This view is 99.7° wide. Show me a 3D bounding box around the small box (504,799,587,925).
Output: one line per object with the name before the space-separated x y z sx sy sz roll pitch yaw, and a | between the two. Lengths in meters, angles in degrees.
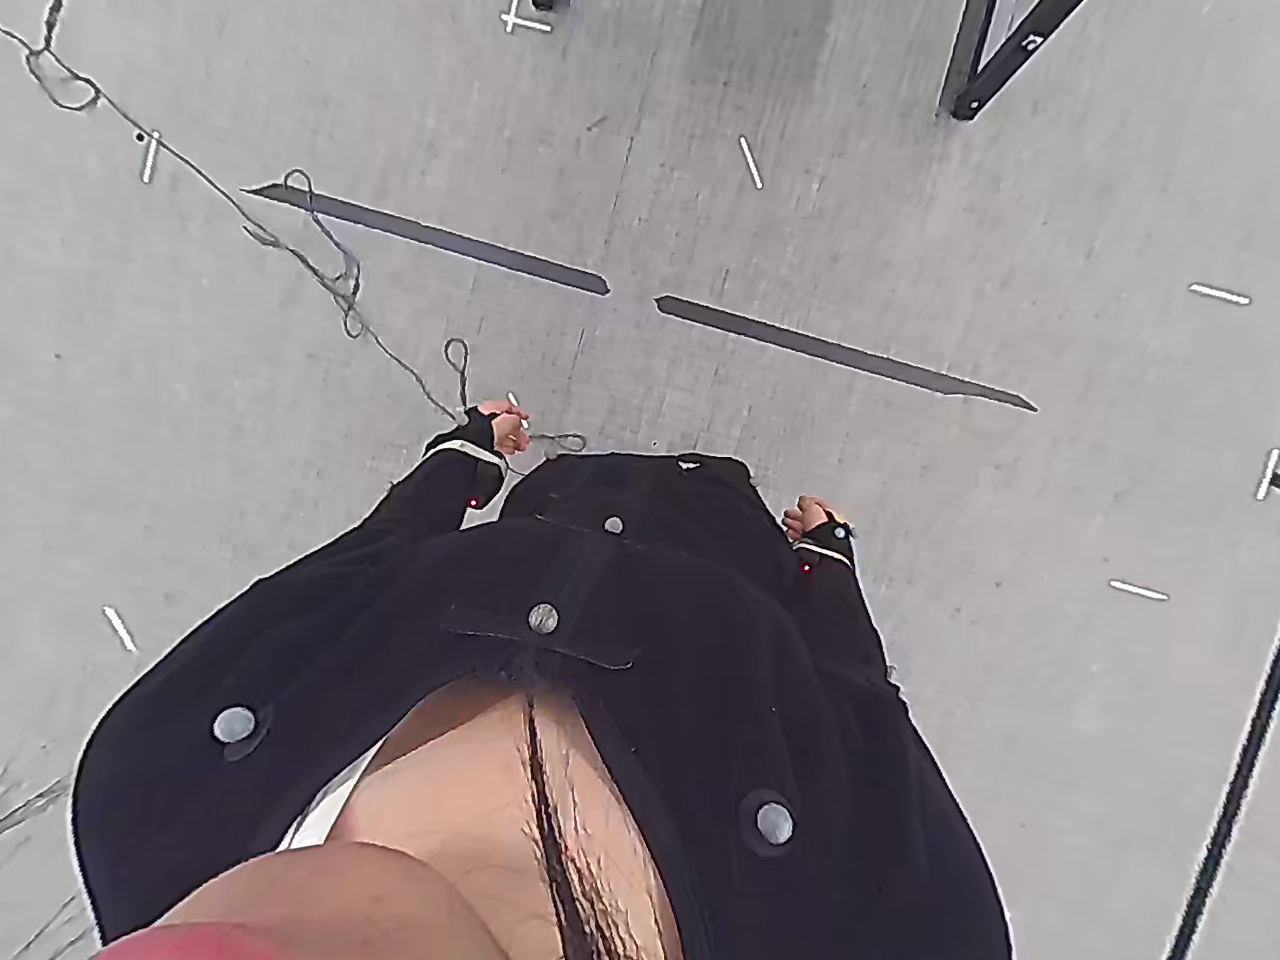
small box | -0.217 0.891 1.271 0.168 0.176 0.179 2 93 -1

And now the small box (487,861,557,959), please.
small box | -0.301 1.142 1.452 0.168 0.176 0.179 6 93 0

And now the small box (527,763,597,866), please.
small box | -0.206 0.878 1.435 0.168 0.176 0.179 2 92 1
